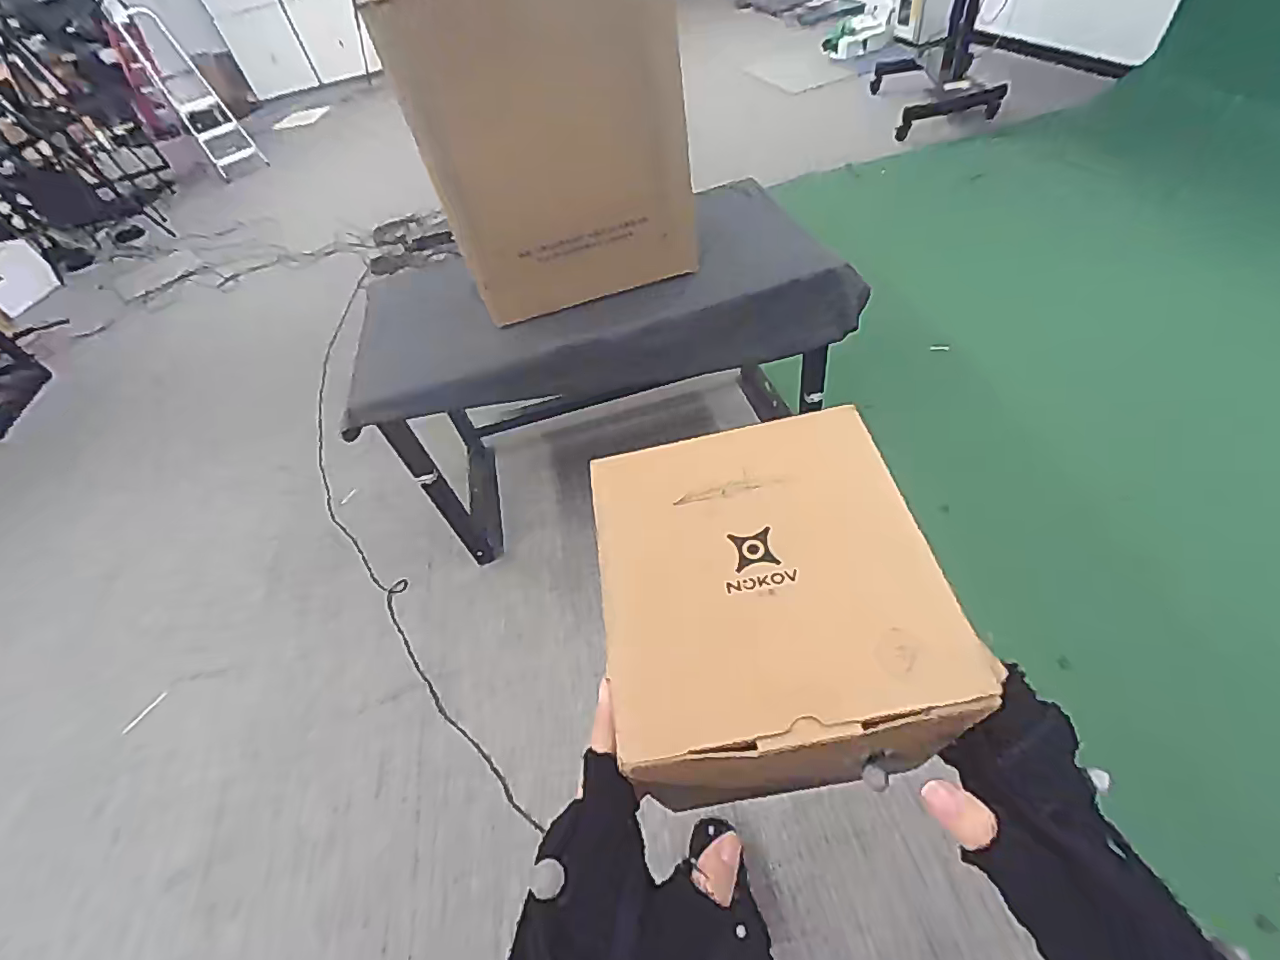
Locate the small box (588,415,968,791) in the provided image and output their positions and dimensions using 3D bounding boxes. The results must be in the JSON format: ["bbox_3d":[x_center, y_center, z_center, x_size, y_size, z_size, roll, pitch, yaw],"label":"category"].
[{"bbox_3d":[0.069,0.090,0.352,0.168,0.176,0.179,-11,52,3],"label":"small box"}]
